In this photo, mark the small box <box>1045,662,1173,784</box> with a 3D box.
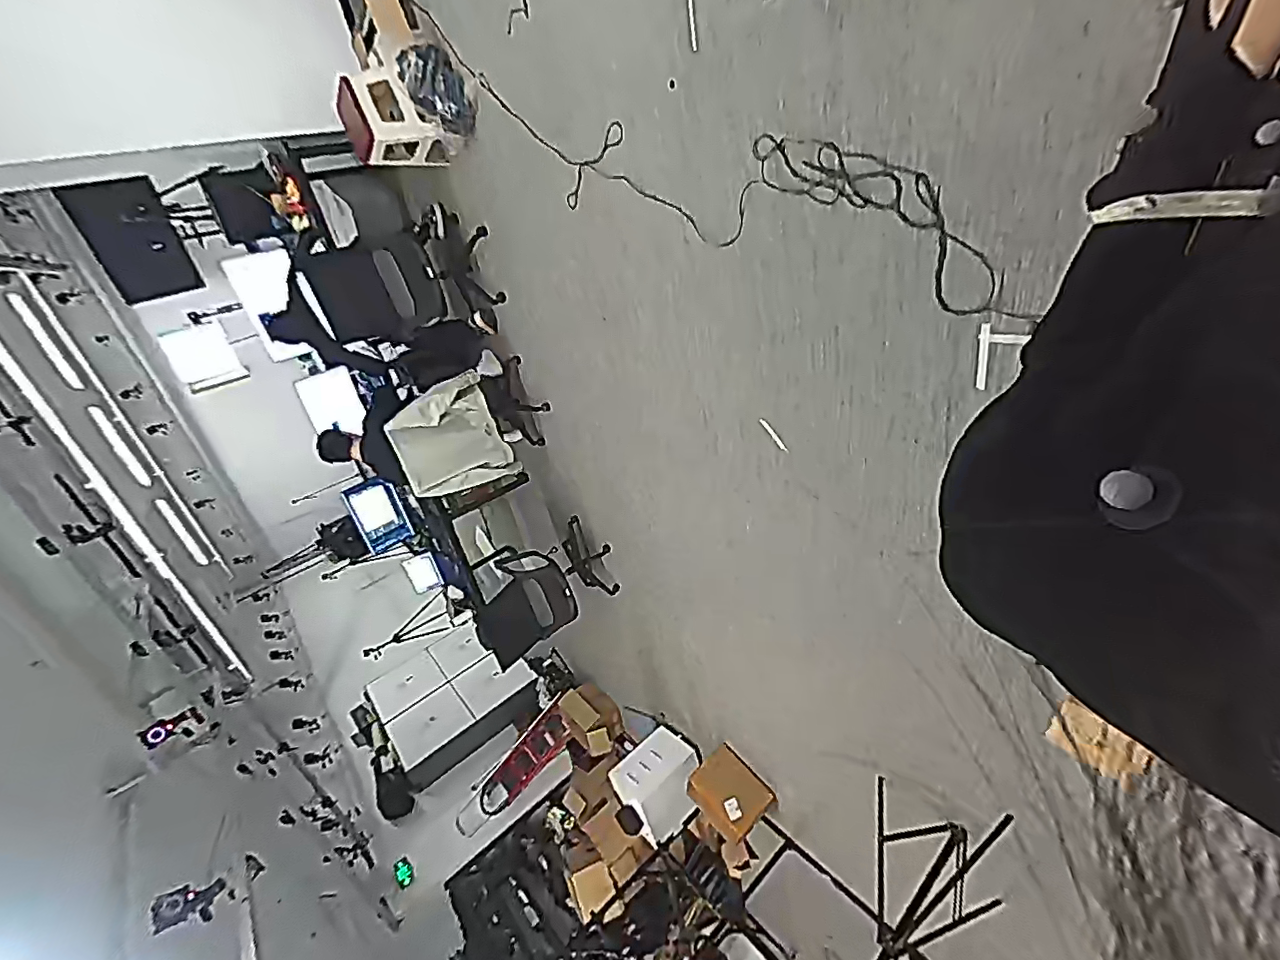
[{"bbox_3d":[1.140,0.582,1.316,0.179,0.176,0.168,30,138,40],"label":"small box"}]
